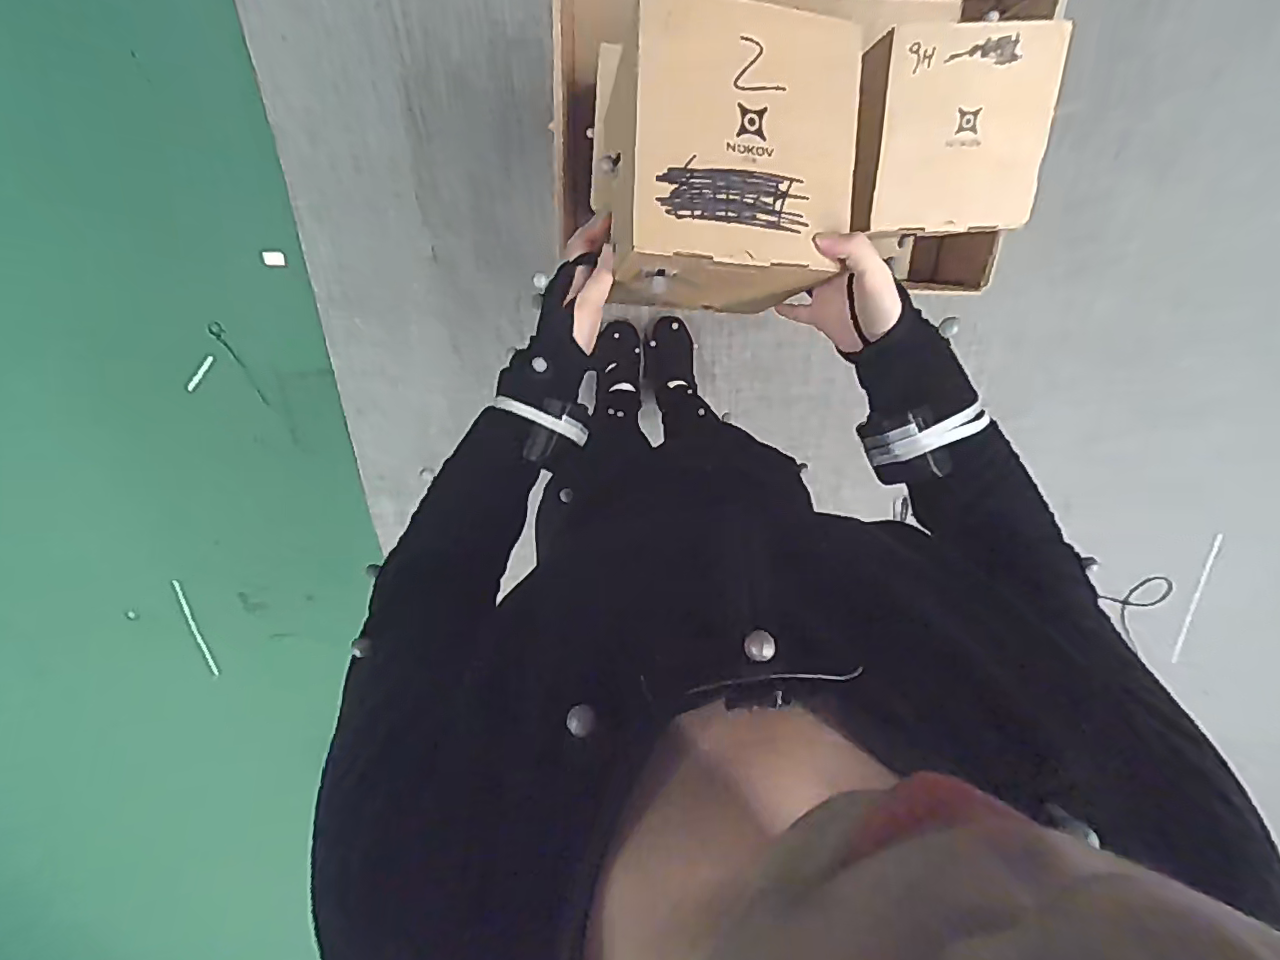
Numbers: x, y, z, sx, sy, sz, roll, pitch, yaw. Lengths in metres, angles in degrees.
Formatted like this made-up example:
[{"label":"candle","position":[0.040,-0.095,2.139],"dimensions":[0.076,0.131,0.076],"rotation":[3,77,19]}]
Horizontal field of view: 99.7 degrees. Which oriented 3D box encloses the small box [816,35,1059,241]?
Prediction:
[{"label":"small box","position":[0.310,-0.366,0.611],"dimensions":[0.168,0.176,0.179],"rotation":[-1,113,-1]}]
